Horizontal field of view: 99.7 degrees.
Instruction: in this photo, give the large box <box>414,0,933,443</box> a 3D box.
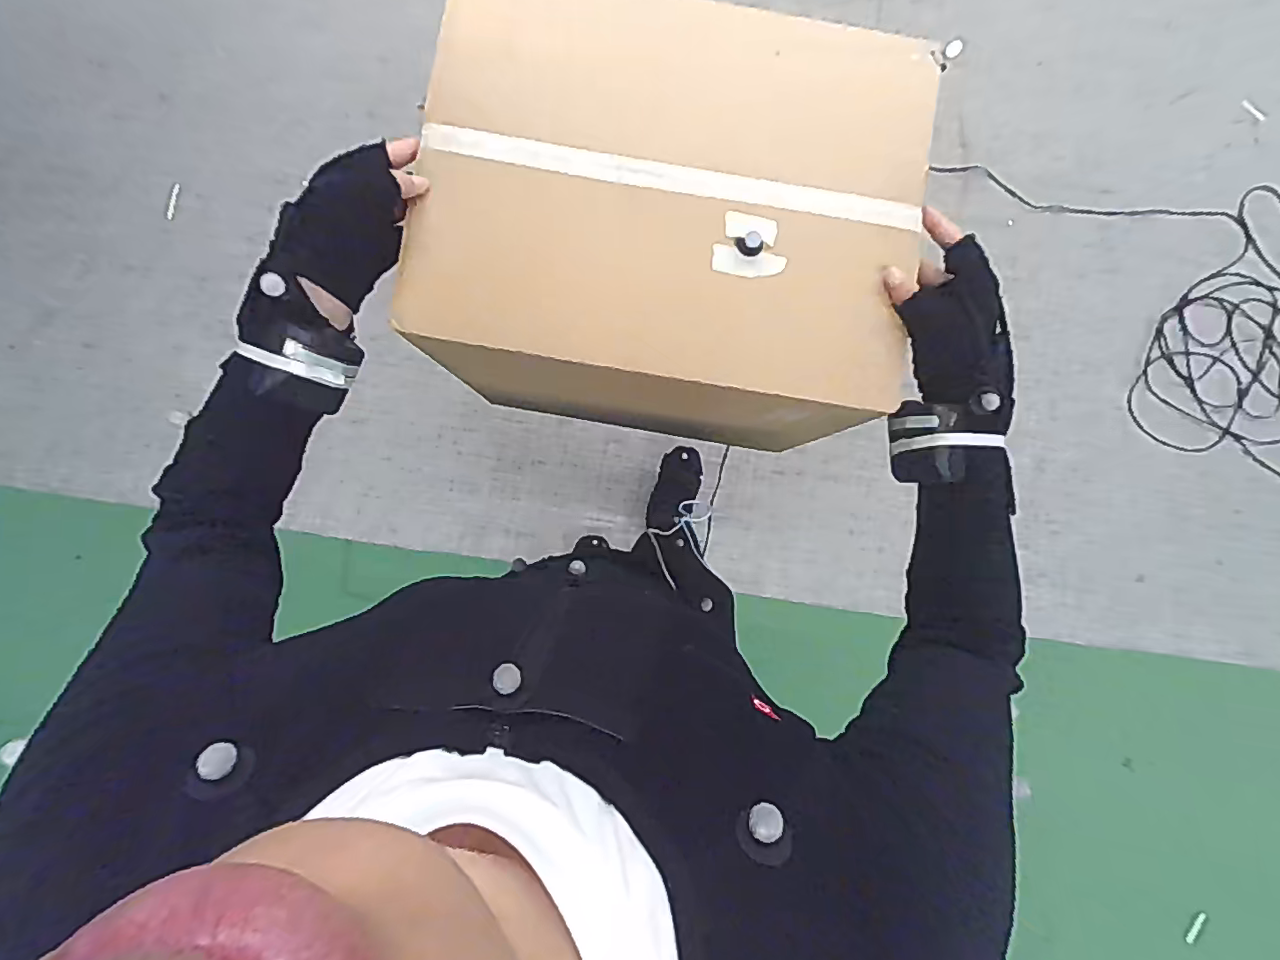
[{"bbox_3d":[0.027,-0.236,0.595,0.408,0.320,0.320,9,87,-1],"label":"large box"}]
